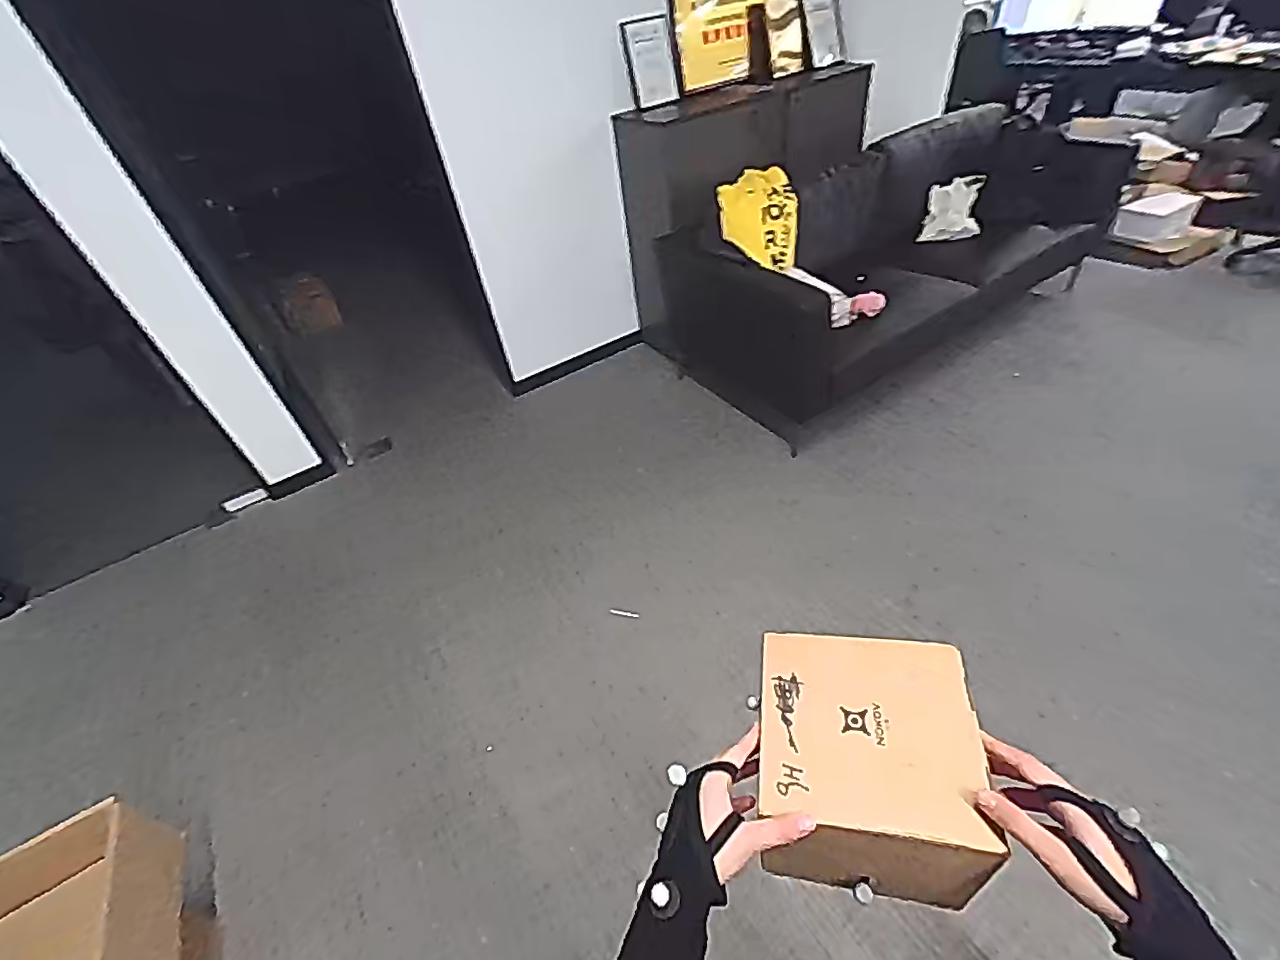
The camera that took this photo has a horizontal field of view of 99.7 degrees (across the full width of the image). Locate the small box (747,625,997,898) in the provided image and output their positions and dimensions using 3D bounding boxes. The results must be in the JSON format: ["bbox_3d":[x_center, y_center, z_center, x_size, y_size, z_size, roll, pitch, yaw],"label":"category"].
[{"bbox_3d":[0.195,0.260,0.506,0.179,0.176,0.168,1,40,15],"label":"small box"}]
